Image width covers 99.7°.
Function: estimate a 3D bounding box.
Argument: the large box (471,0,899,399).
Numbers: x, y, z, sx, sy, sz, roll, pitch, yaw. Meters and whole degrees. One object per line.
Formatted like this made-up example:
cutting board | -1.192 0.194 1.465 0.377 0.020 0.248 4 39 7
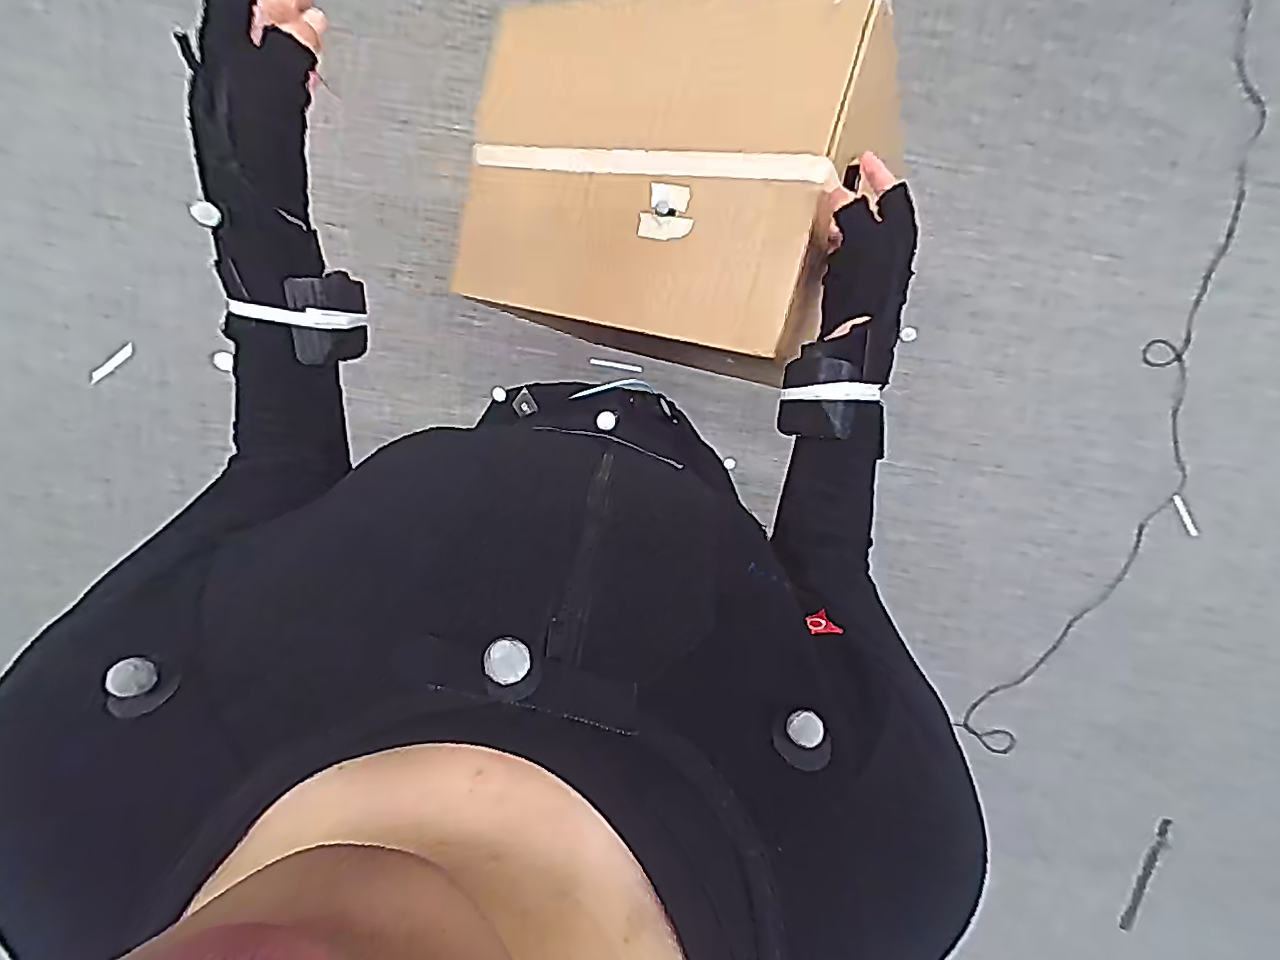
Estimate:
large box | 0.064 -0.312 0.690 0.408 0.320 0.320 20 101 27
